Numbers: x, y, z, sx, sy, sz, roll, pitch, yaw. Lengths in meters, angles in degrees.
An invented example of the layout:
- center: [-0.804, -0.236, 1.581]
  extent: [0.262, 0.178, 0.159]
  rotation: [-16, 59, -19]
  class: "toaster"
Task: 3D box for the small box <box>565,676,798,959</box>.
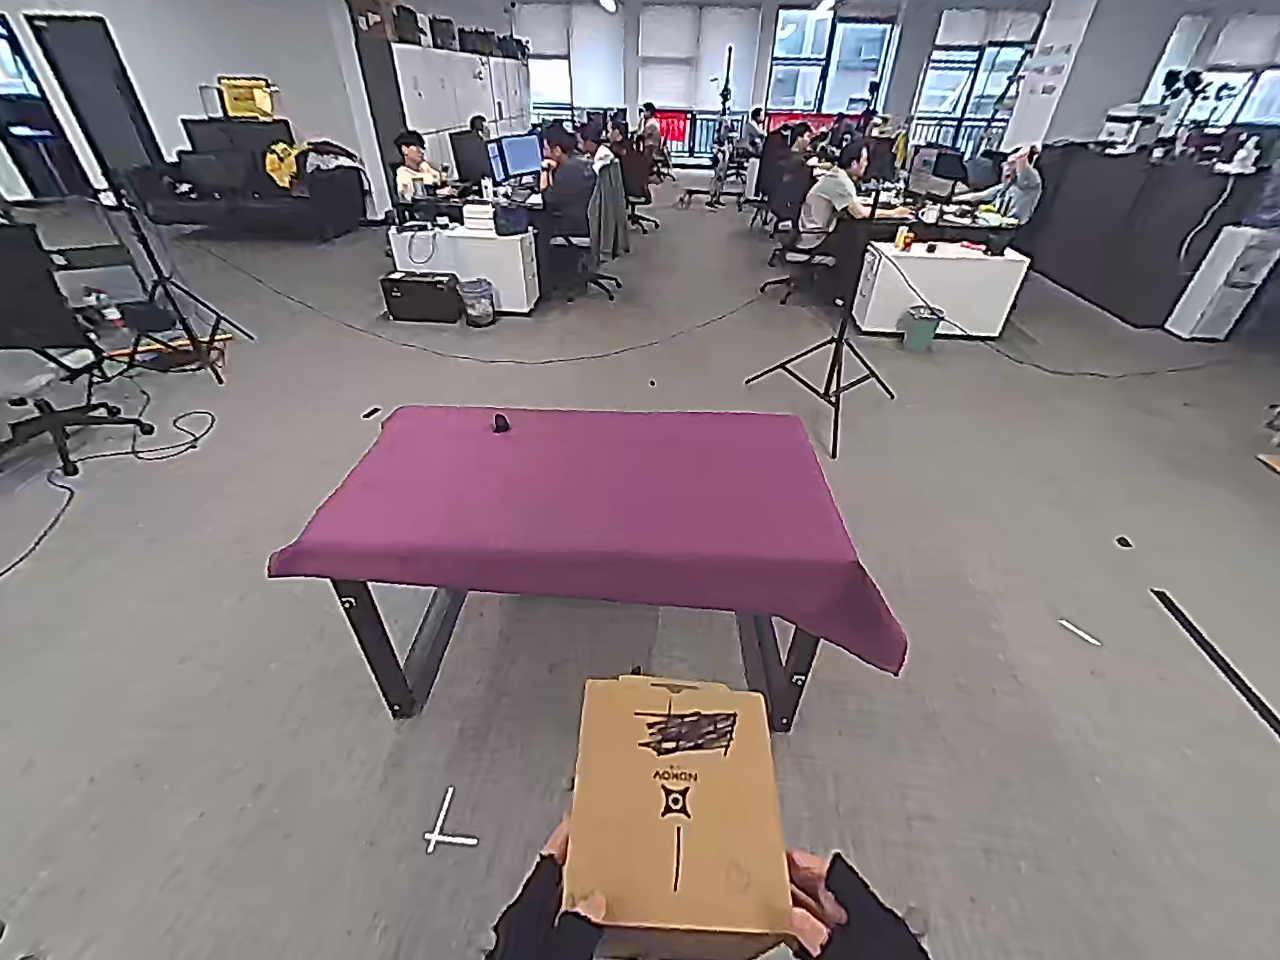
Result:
- center: [0.024, 0.304, 0.487]
  extent: [0.168, 0.176, 0.179]
  rotation: [5, 42, -2]
  class: "small box"
